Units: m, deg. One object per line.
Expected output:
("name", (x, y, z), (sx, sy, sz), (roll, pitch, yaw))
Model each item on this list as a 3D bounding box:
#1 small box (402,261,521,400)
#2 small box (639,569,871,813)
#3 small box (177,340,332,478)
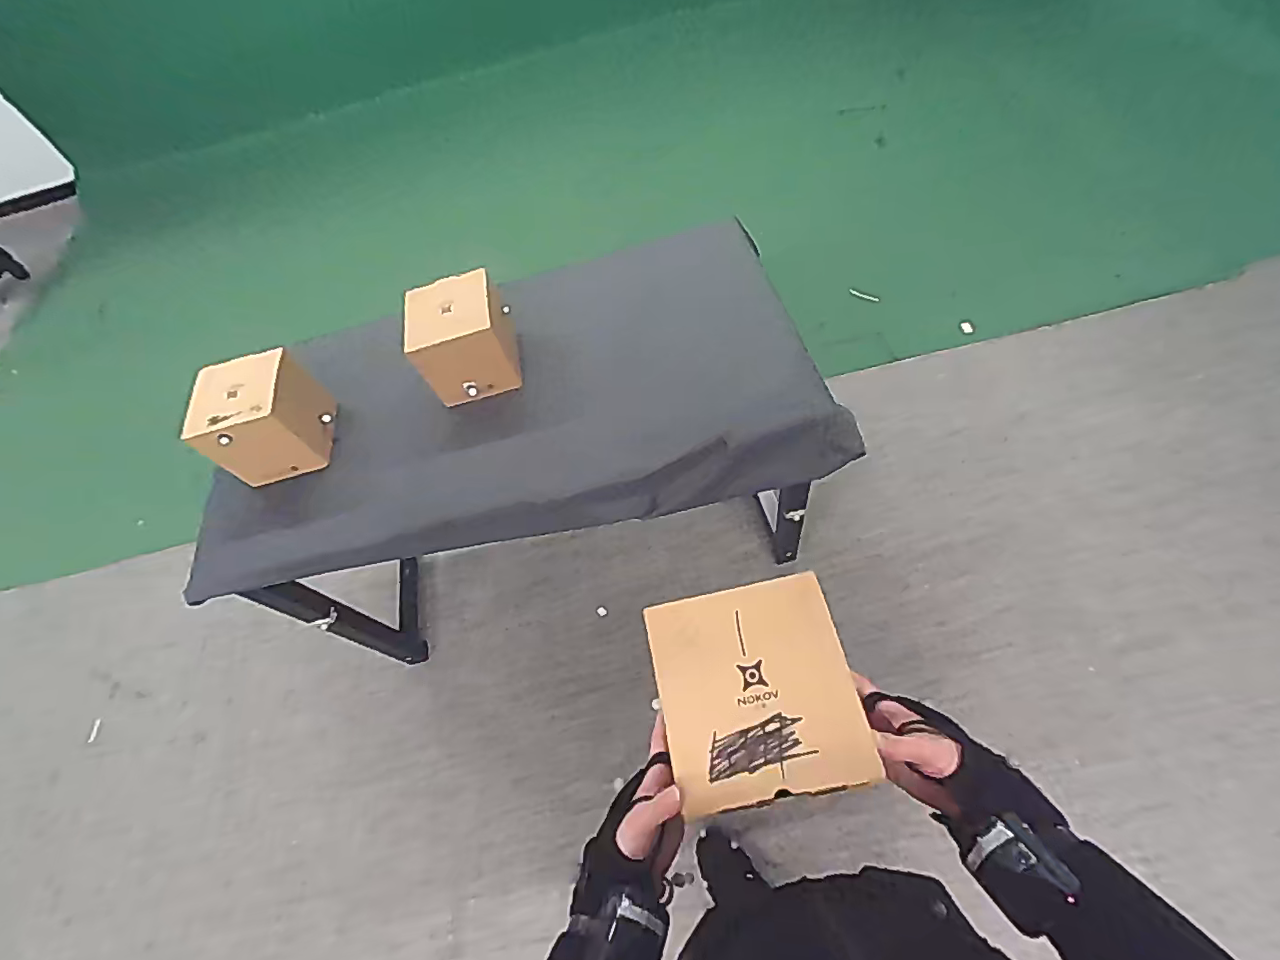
("small box", (-0.348, -0.290, 1.066), (0.168, 0.176, 0.179), (-17, 60, 2))
("small box", (0.104, 0.208, 0.540), (0.168, 0.176, 0.179), (-13, 64, 2))
("small box", (-0.724, -0.133, 1.040), (0.168, 0.176, 0.179), (-16, 58, 1))
